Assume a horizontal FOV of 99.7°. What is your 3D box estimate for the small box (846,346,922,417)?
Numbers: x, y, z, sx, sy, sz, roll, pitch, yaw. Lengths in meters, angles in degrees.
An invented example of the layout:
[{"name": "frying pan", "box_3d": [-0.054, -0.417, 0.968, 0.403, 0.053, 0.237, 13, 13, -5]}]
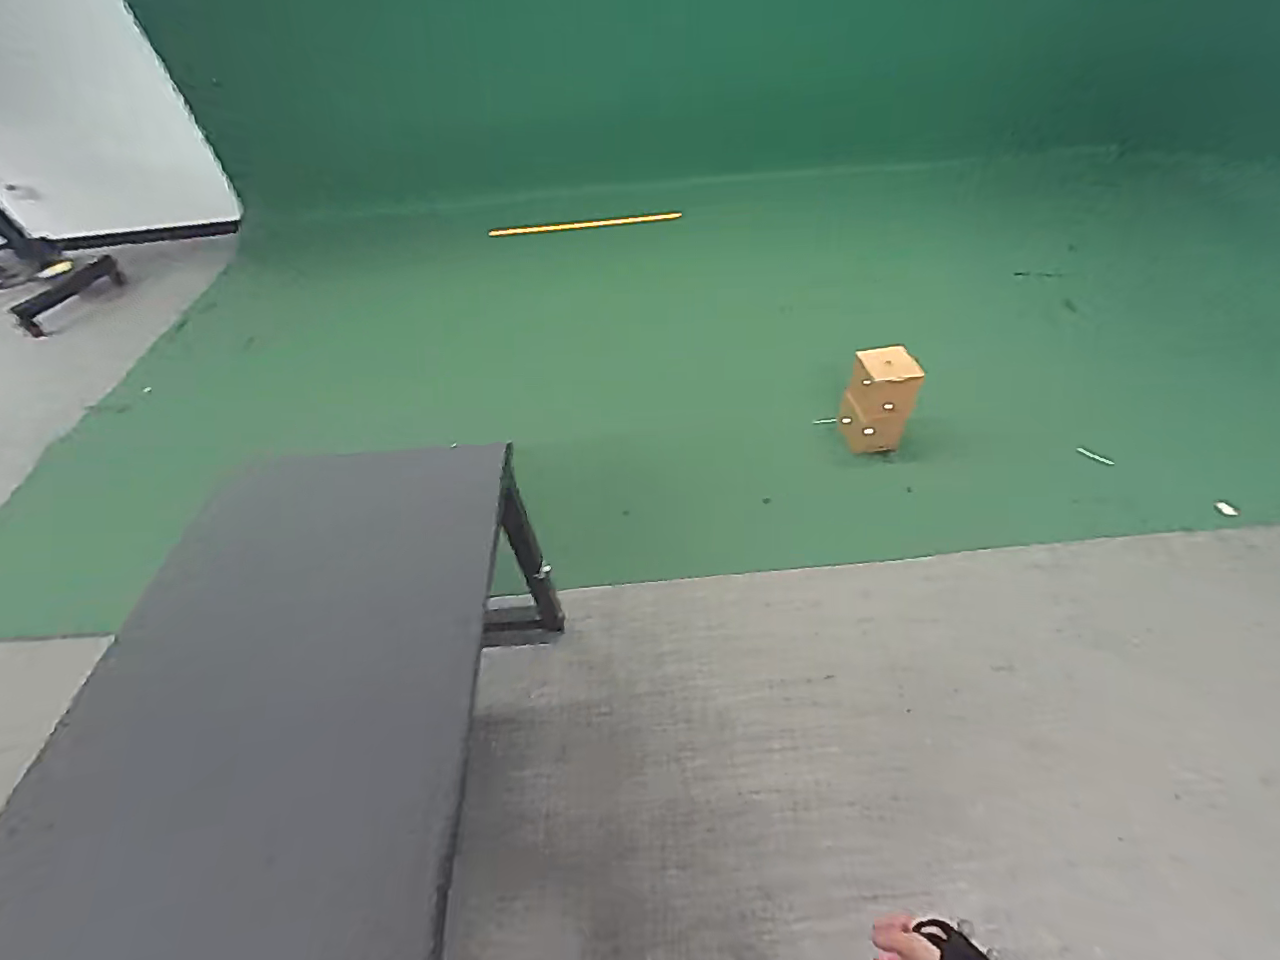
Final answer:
[{"name": "small box", "box_3d": [0.845, -0.343, 1.896, 0.168, 0.176, 0.179, -8, 49, -3]}]
